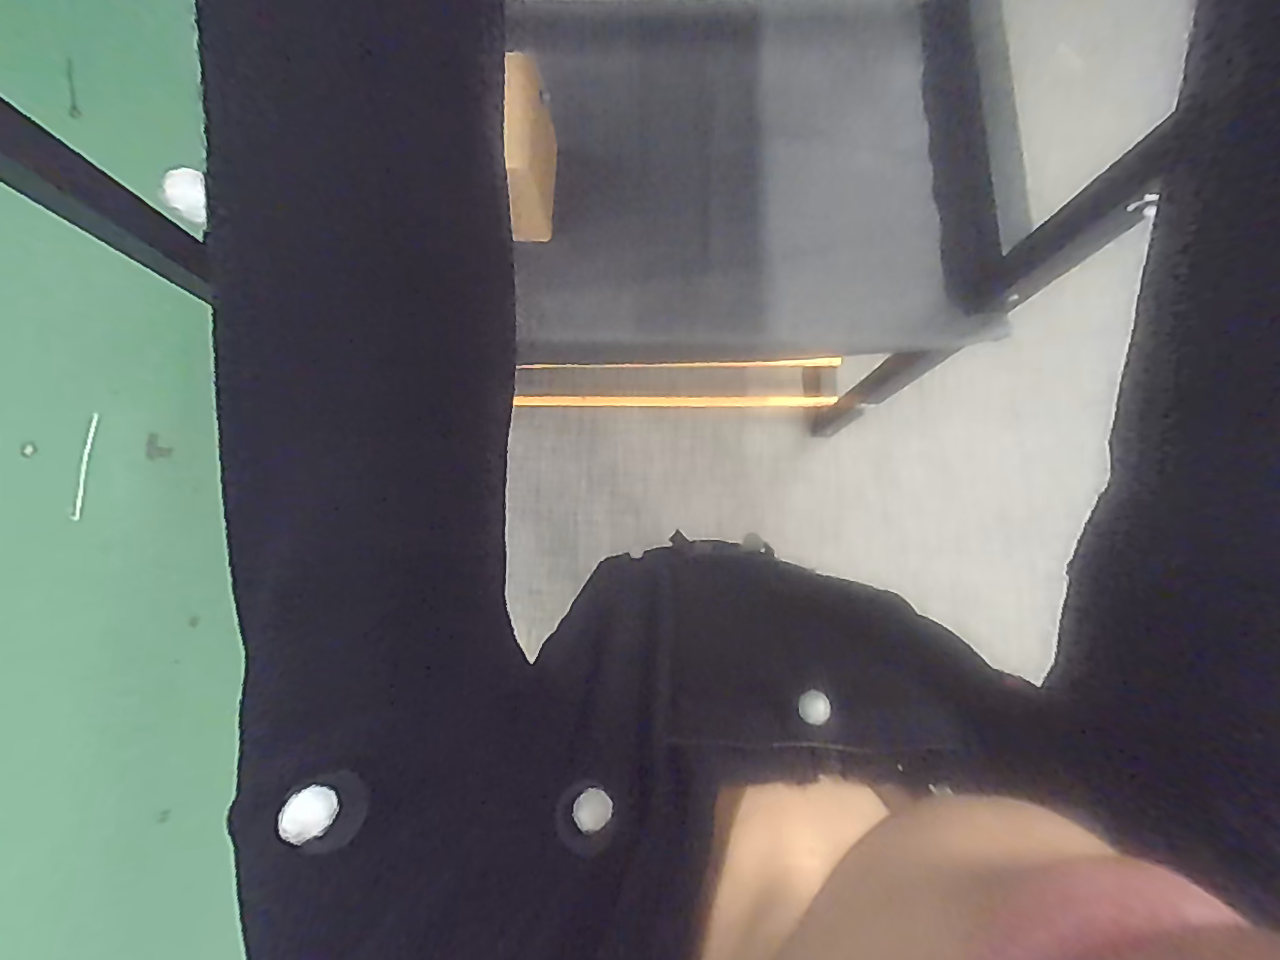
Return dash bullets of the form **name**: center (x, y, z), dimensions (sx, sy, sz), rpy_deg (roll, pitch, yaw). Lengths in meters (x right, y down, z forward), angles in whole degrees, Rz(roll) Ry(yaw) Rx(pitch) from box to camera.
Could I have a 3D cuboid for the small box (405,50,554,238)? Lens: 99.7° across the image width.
- **small box**: center (-0.222, -0.480, 0.794), dimensions (0.168, 0.176, 0.179), rpy_deg (2, 80, 0)
